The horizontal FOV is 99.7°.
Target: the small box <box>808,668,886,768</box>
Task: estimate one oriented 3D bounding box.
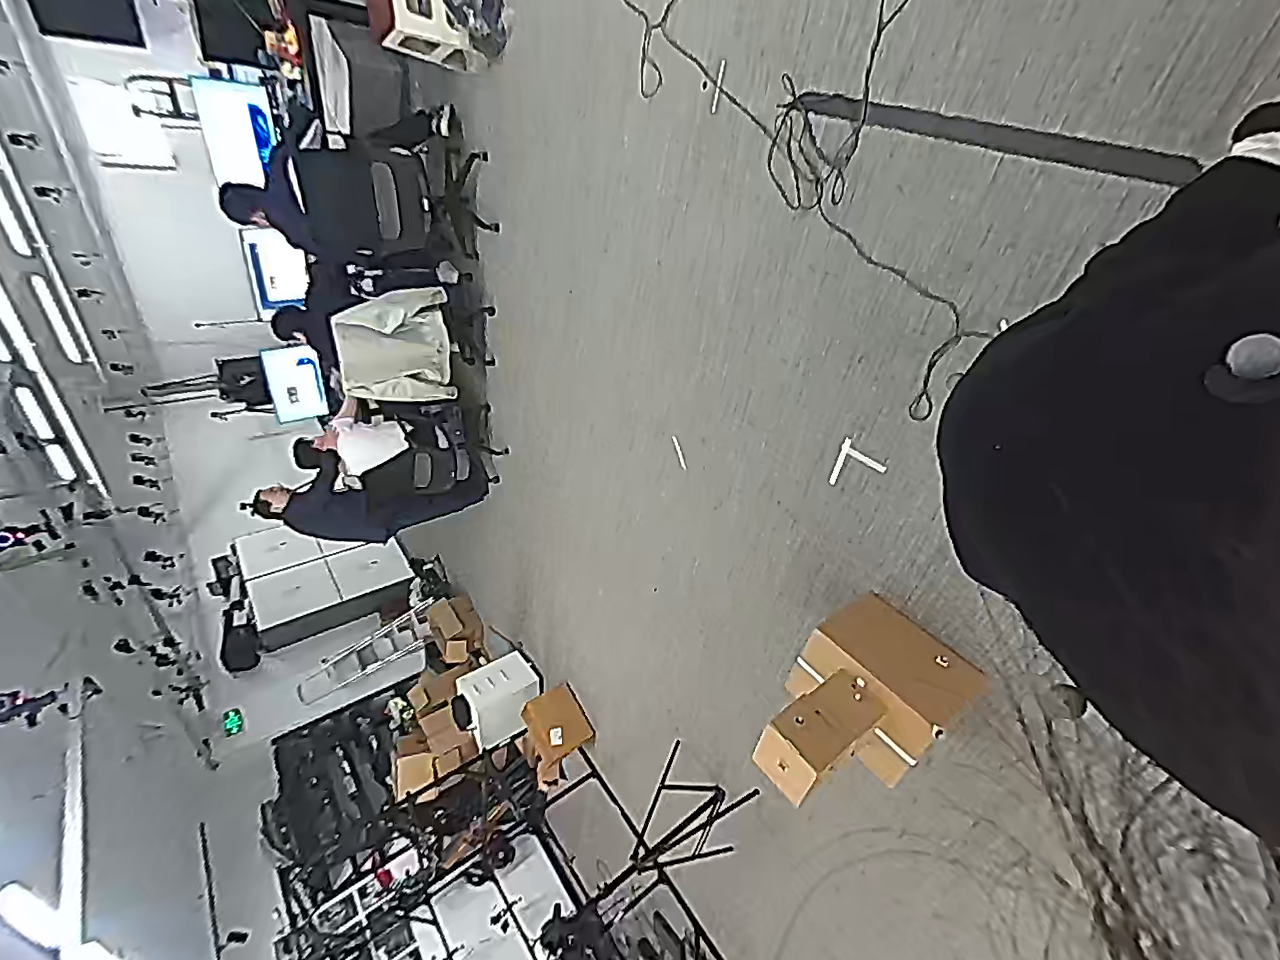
[{"bbox_3d":[0.568,0.680,1.546,0.168,0.176,0.179,40,134,36],"label":"small box"}]

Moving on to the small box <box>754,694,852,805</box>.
[{"bbox_3d":[0.440,0.715,1.452,0.168,0.176,0.179,40,135,38],"label":"small box"}]
